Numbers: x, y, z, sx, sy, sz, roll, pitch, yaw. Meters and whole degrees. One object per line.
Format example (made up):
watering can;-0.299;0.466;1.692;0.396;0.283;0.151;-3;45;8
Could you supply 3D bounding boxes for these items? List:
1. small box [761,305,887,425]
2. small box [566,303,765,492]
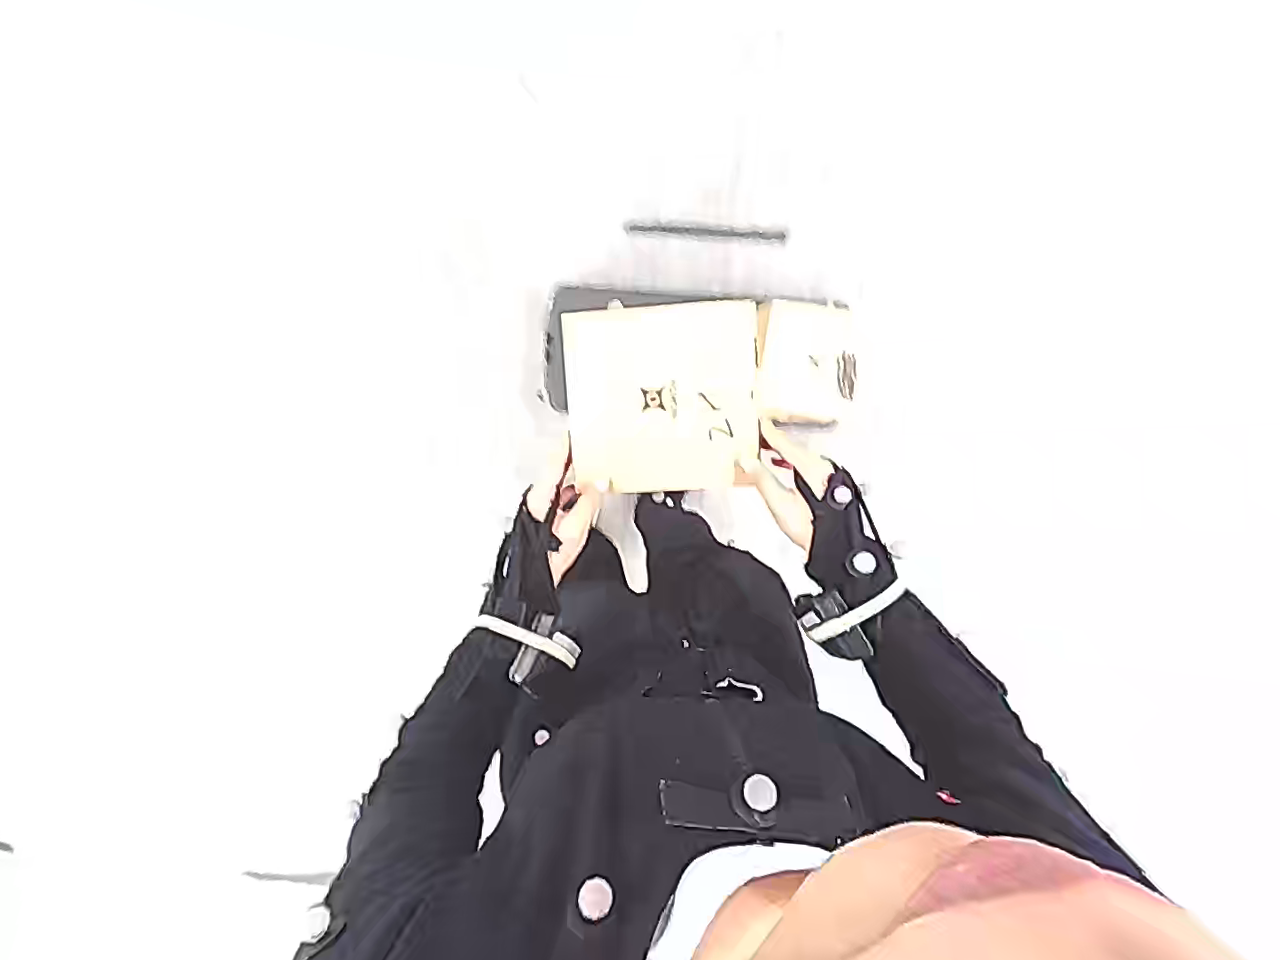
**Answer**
small box;0.286;-0.196;0.925;0.179;0.176;0.168;8;101;1
small box;0.029;-0.078;0.564;0.179;0.176;0.168;-3;96;4
